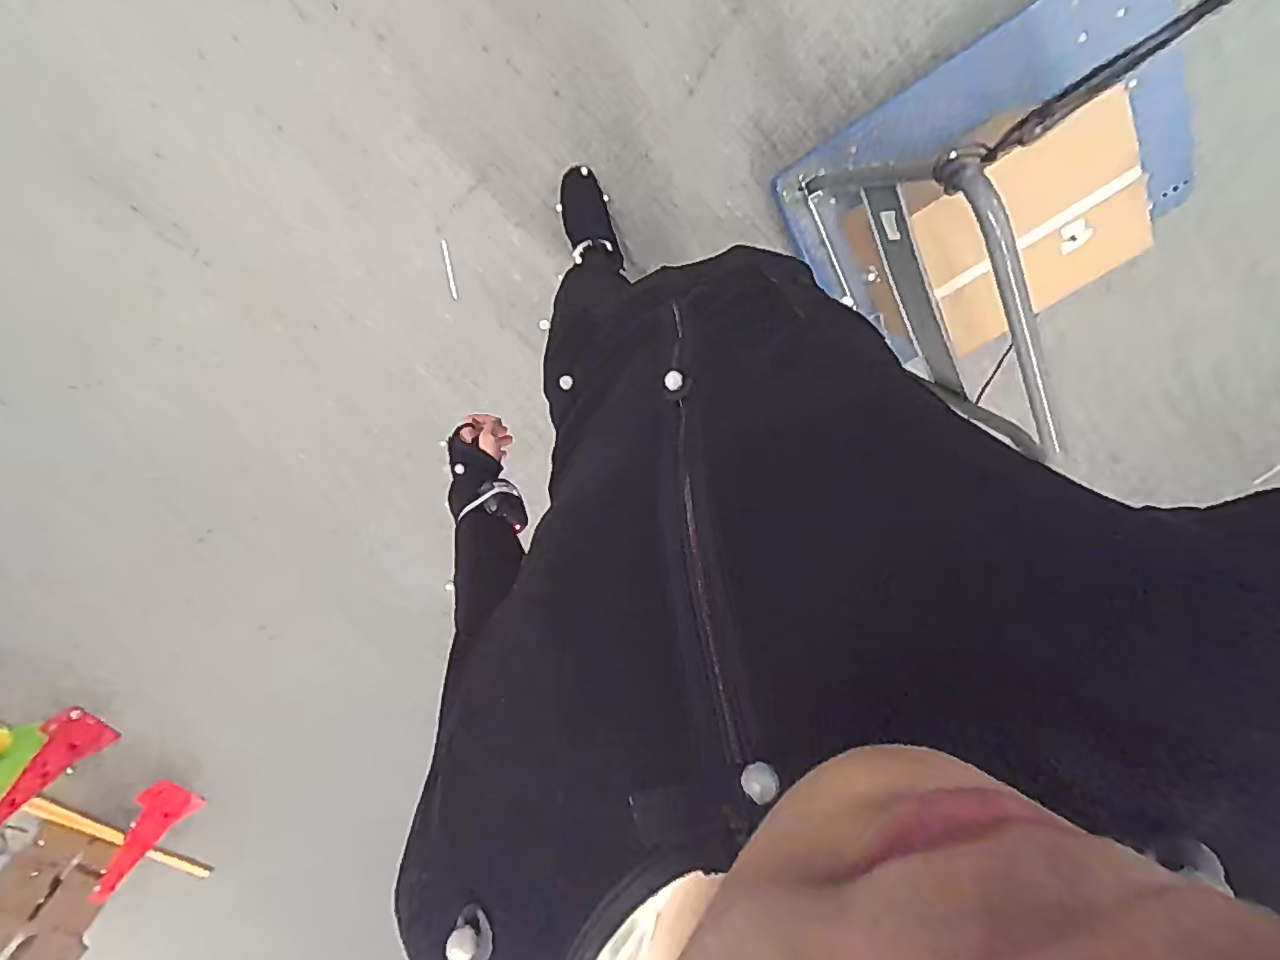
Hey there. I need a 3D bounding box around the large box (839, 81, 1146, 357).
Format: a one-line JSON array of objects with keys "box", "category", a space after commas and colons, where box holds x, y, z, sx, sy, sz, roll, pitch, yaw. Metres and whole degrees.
[{"box": [0.712, -0.524, 1.143, 0.408, 0.320, 0.320, -31, 115, 10], "category": "large box"}]
